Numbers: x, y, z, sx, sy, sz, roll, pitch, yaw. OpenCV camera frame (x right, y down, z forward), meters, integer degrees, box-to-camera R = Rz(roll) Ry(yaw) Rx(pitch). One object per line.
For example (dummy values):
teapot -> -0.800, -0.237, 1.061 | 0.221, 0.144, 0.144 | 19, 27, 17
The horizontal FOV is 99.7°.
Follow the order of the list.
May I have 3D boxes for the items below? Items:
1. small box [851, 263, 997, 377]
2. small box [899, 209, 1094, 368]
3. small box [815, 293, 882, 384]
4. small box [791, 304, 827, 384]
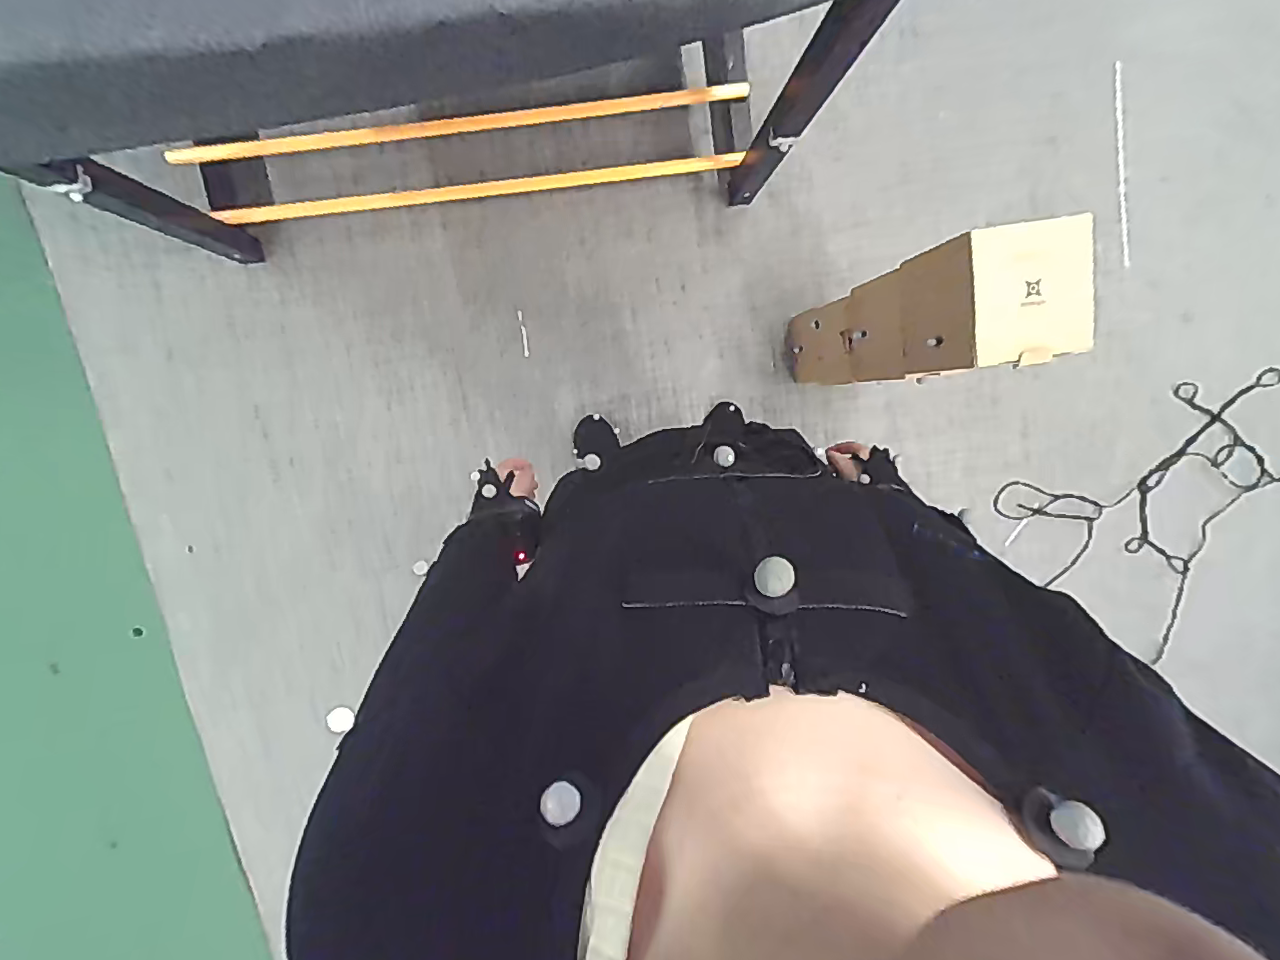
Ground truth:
small box -> 0.485, -0.276, 0.934 | 0.168, 0.176, 0.179 | -9, 99, -4
small box -> 0.497, -0.259, 0.774 | 0.168, 0.176, 0.179 | -10, 98, -3
small box -> 0.471, -0.291, 1.098 | 0.179, 0.176, 0.168 | -11, 99, -3
small box -> 0.470, -0.319, 1.259 | 0.179, 0.176, 0.168 | -8, 98, -4
